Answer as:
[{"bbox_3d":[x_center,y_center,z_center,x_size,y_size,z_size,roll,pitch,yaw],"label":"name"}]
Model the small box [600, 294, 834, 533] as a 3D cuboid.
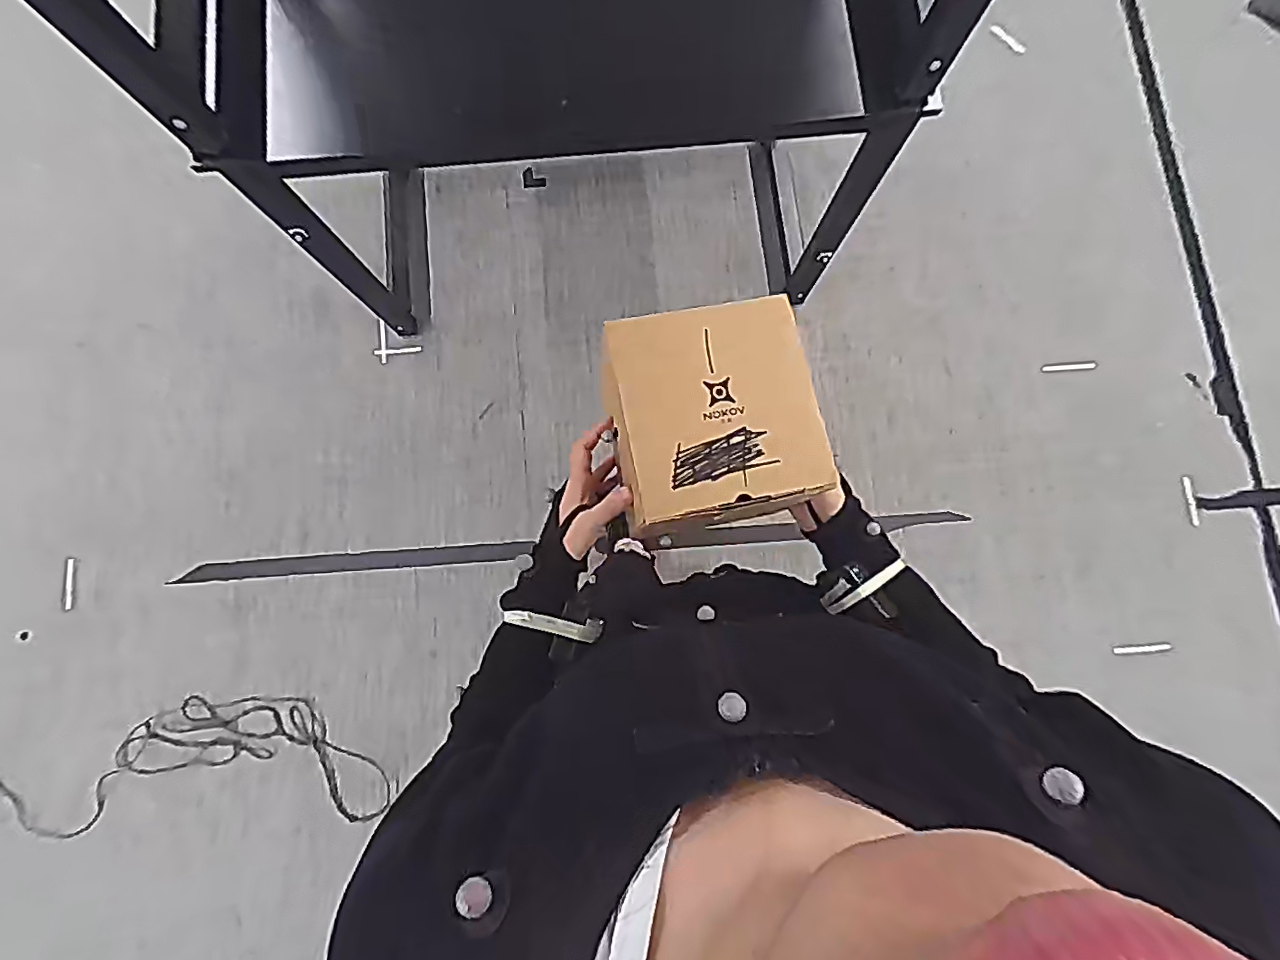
[{"bbox_3d":[0.058,-0.049,0.524,0.168,0.176,0.179,-11,79,-7],"label":"small box"}]
